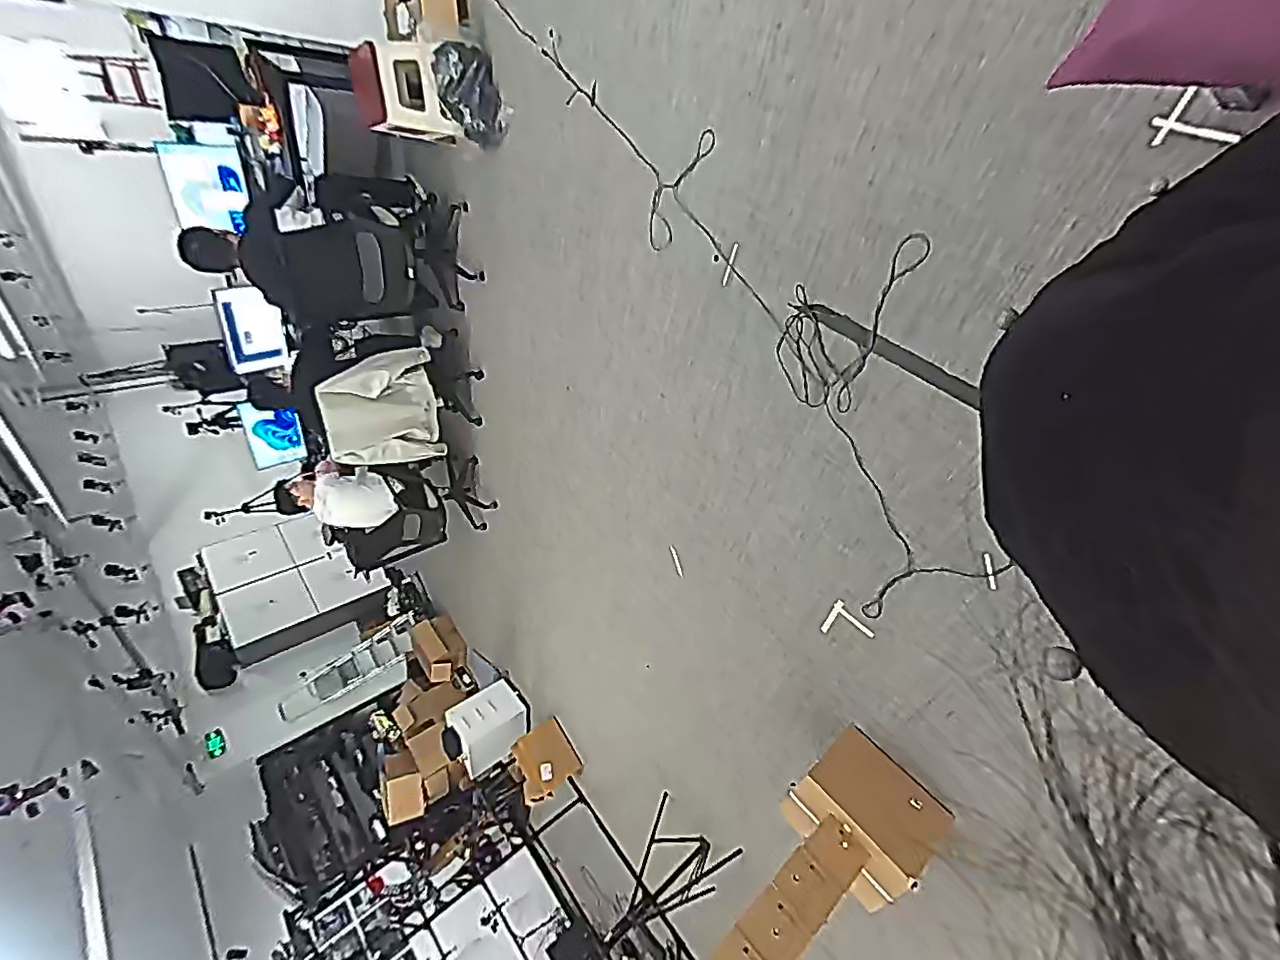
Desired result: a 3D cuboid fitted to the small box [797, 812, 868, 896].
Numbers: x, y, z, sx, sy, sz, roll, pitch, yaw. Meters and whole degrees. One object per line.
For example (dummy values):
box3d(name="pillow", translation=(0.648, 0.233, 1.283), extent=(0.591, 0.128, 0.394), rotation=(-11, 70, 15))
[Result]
box3d(name="small box", translation=(0.614, 1.240, 1.771), extent=(0.168, 0.176, 0.179), rotation=(40, 134, 32))

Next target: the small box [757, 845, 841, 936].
box3d(name="small box", translation=(0.492, 1.282, 1.673), extent=(0.168, 0.176, 0.179), rotation=(40, 136, 34))

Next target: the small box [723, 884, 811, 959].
box3d(name="small box", translation=(0.371, 1.336, 1.574), extent=(0.168, 0.176, 0.179), rotation=(37, 133, 37))
